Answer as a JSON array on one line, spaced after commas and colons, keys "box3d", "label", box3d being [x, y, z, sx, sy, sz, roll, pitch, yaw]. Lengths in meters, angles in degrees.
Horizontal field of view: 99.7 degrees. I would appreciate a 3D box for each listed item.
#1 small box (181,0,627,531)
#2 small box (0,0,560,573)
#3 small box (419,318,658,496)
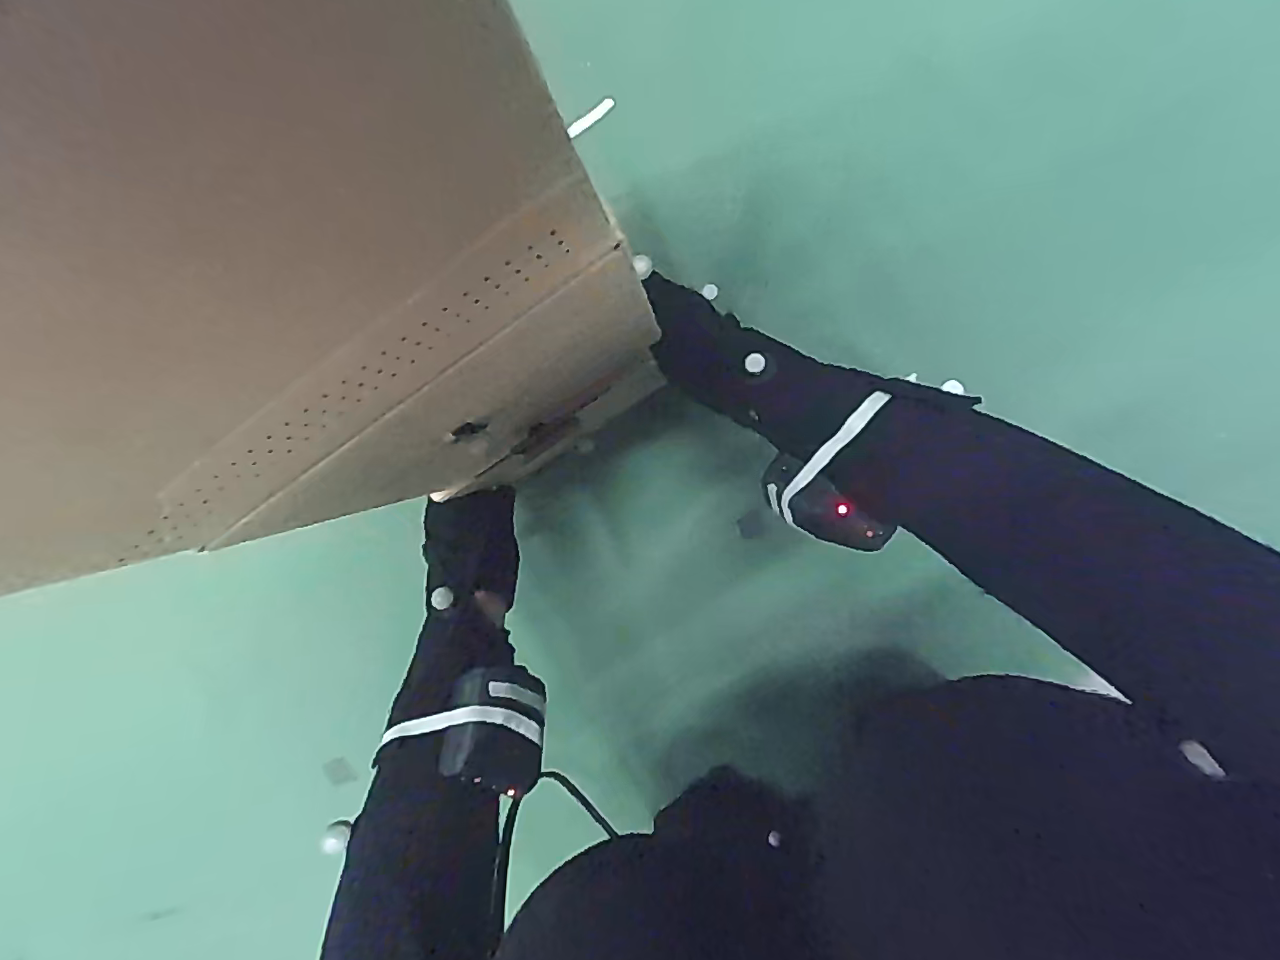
[{"box3d": [-0.118, -0.099, 0.245, 0.179, 0.176, 0.168, -30, 90, 8], "label": "small box"}, {"box3d": [-0.140, -0.082, 0.087, 0.179, 0.176, 0.168, -34, 91, 8], "label": "small box"}, {"box3d": [-0.102, -0.109, 0.410, 0.168, 0.176, 0.179, -33, 91, 9], "label": "small box"}]
